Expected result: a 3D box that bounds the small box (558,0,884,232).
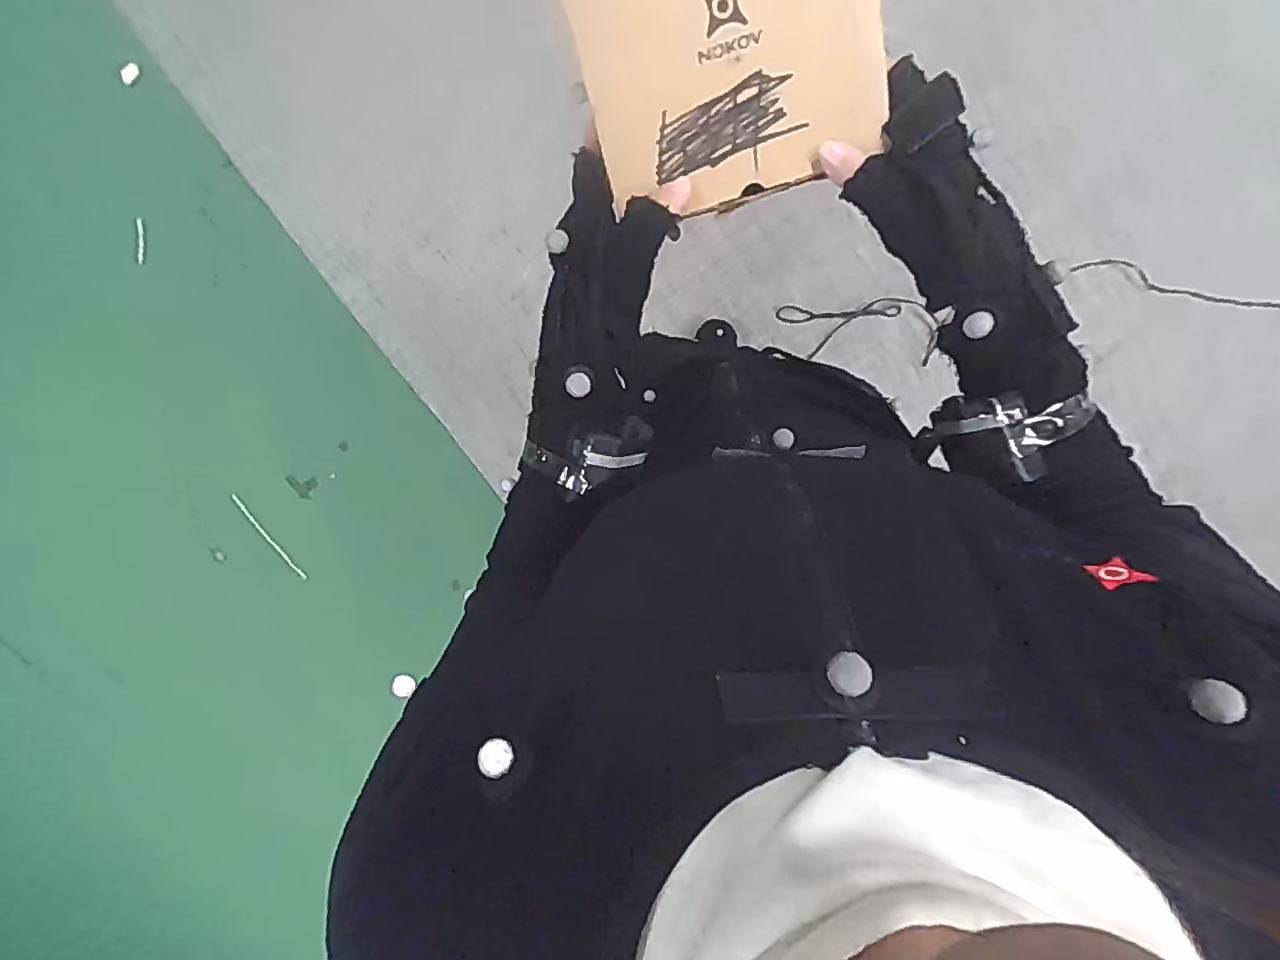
[{"bbox_3d":[0.048,-0.292,0.371,0.168,0.176,0.179,-16,115,11],"label":"small box"}]
